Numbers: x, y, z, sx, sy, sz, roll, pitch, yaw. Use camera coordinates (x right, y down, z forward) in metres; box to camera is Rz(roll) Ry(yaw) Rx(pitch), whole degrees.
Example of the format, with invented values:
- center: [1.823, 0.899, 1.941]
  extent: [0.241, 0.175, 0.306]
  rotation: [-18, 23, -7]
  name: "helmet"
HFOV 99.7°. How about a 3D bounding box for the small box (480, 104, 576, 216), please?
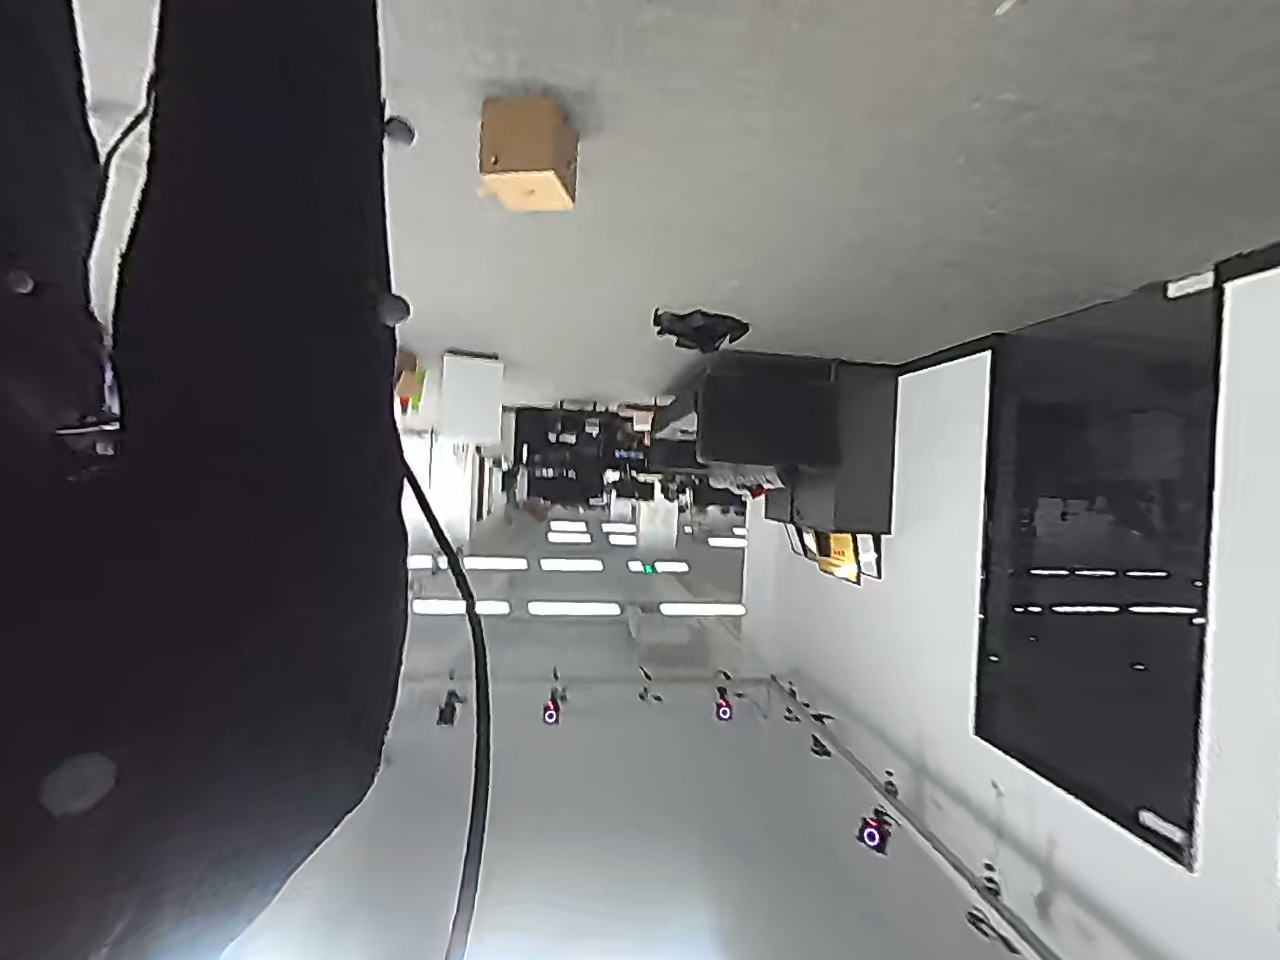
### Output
- center: [-0.255, -0.739, 1.256]
  extent: [0.179, 0.176, 0.168]
  rotation: [3, -179, 11]
  name: "small box"
